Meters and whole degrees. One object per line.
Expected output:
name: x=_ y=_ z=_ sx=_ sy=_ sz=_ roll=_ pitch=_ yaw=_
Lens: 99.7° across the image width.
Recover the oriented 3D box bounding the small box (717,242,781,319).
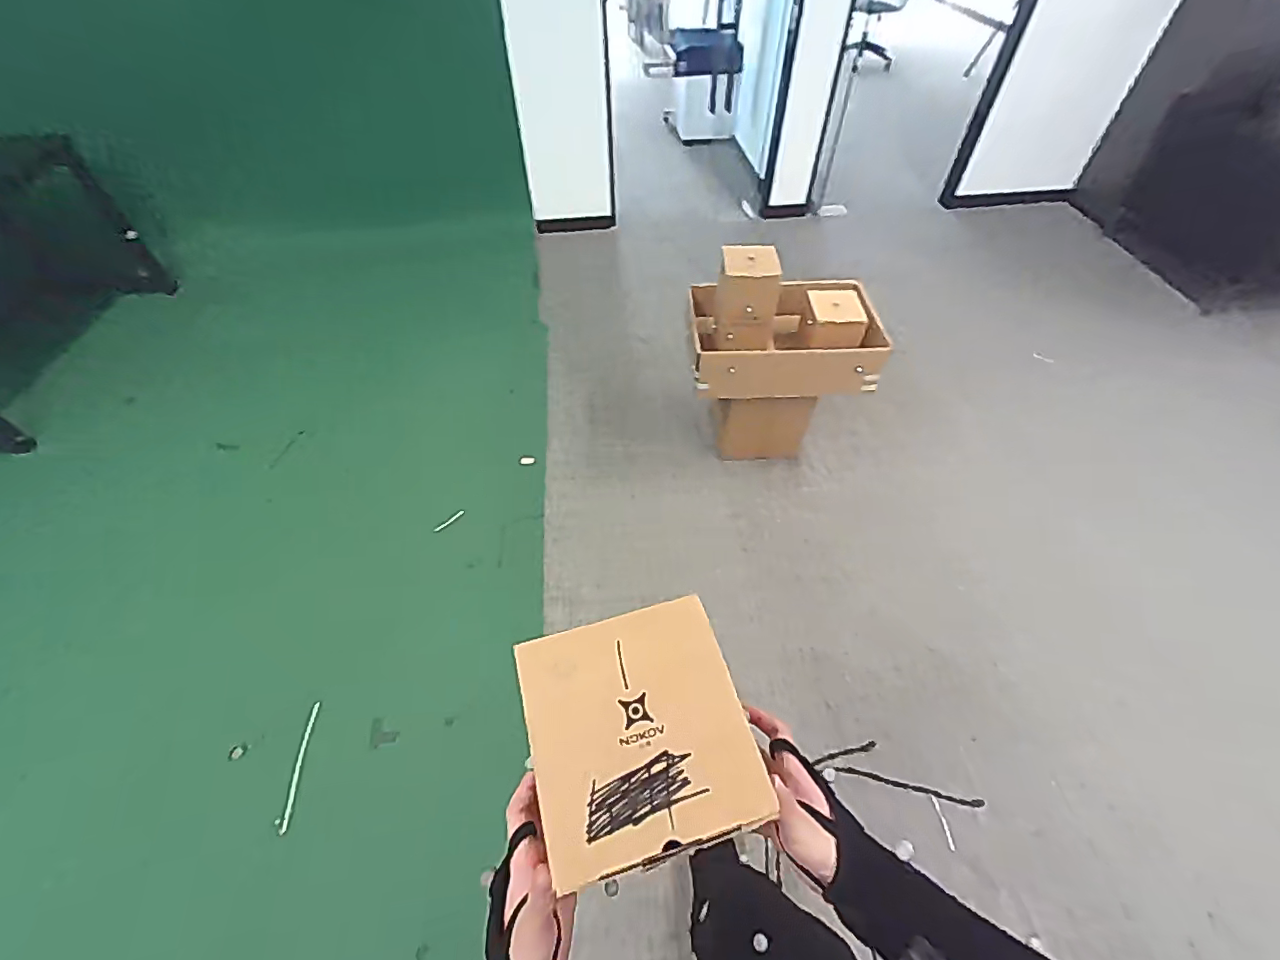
small box: x=0.335 y=-0.625 z=1.693 sx=0.168 sy=0.176 sz=0.179 roll=-1 pitch=52 yaw=2

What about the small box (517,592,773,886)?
small box: x=-0.002 y=0.229 z=0.482 sx=0.168 sy=0.176 sz=0.179 roll=-13 pitch=55 yaw=-9

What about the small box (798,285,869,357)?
small box: x=0.646 y=-0.537 z=1.828 sx=0.168 sy=0.176 sz=0.179 roll=-2 pitch=52 yaw=0
